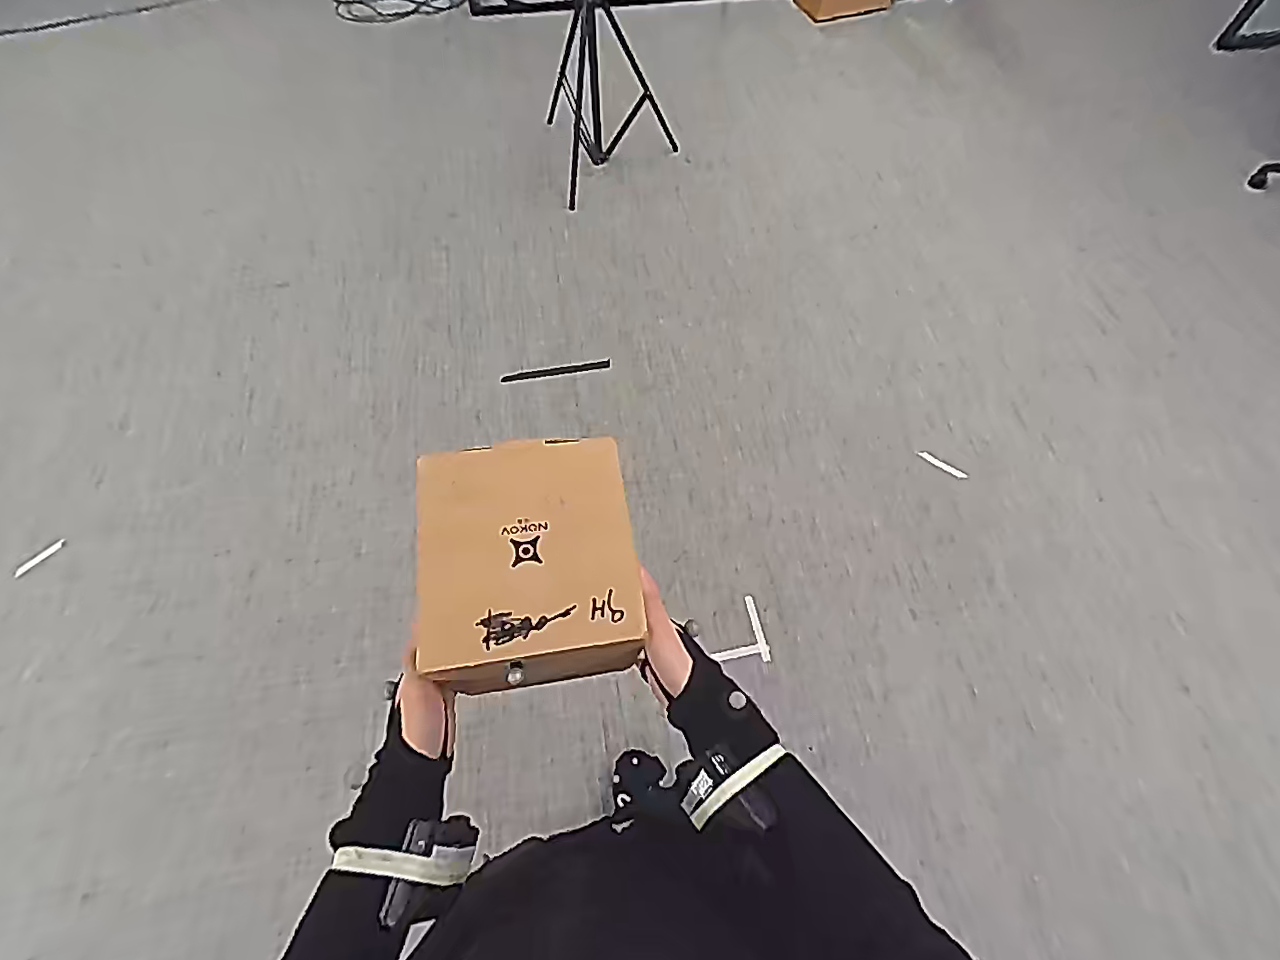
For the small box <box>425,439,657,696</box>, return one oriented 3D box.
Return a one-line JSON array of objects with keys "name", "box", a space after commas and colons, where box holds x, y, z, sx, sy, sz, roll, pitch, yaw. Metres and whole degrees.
[{"name": "small box", "box": [-0.089, 0.084, 0.490, 0.168, 0.176, 0.179, -6, 64, -9]}]
